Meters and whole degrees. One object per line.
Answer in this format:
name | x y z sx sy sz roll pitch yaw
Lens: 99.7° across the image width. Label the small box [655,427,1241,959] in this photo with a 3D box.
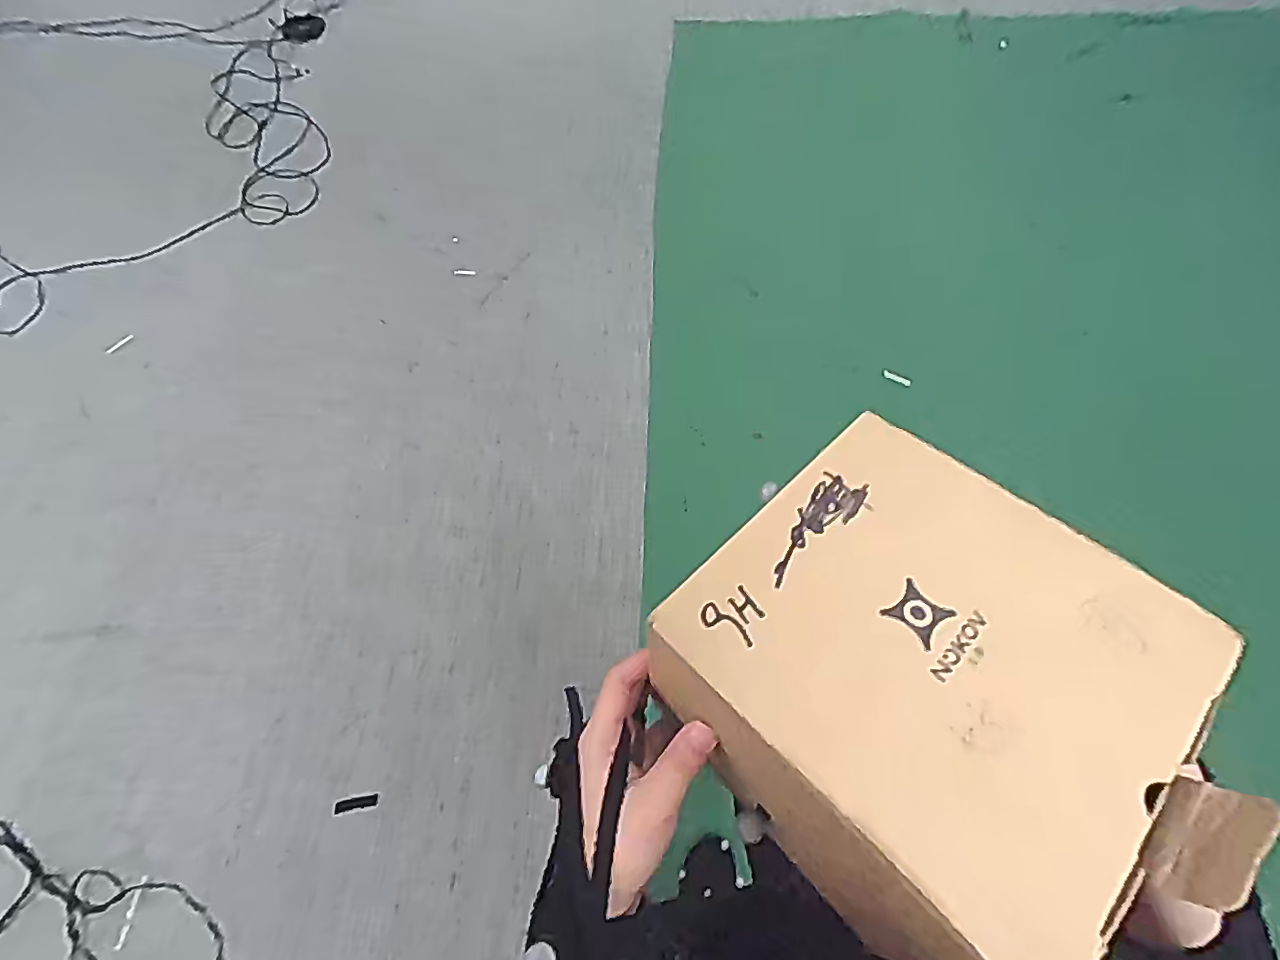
small box | 0.126 0.112 0.291 0.168 0.176 0.179 -37 62 -21
